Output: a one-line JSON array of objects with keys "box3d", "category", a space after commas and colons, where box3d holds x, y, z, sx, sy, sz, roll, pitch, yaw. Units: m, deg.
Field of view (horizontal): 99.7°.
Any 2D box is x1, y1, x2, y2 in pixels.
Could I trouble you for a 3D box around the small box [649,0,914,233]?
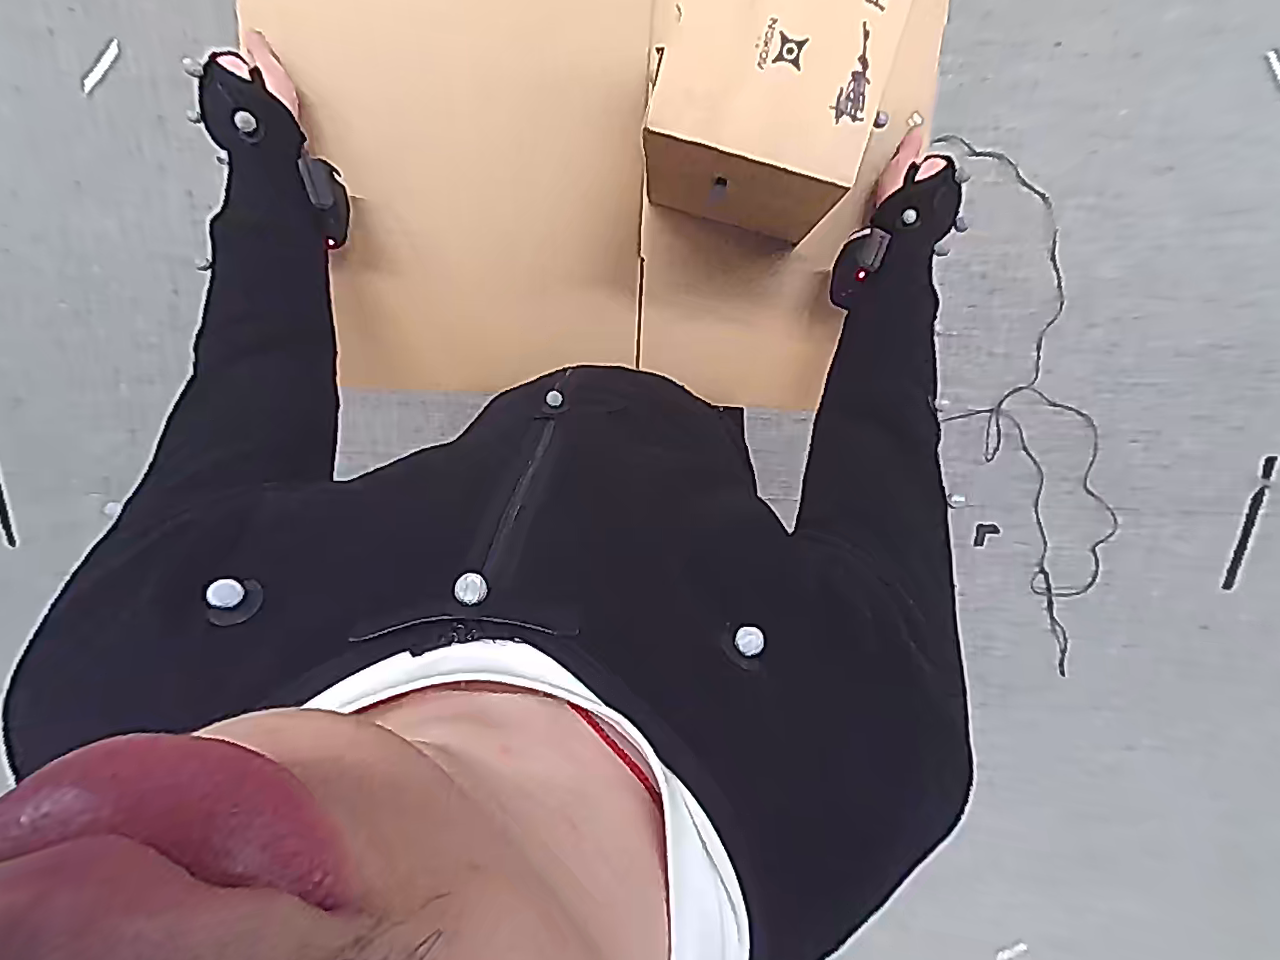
[{"box3d": [0.115, -0.351, 0.499, 0.179, 0.176, 0.168, 16, 100, 0], "category": "small box"}]
